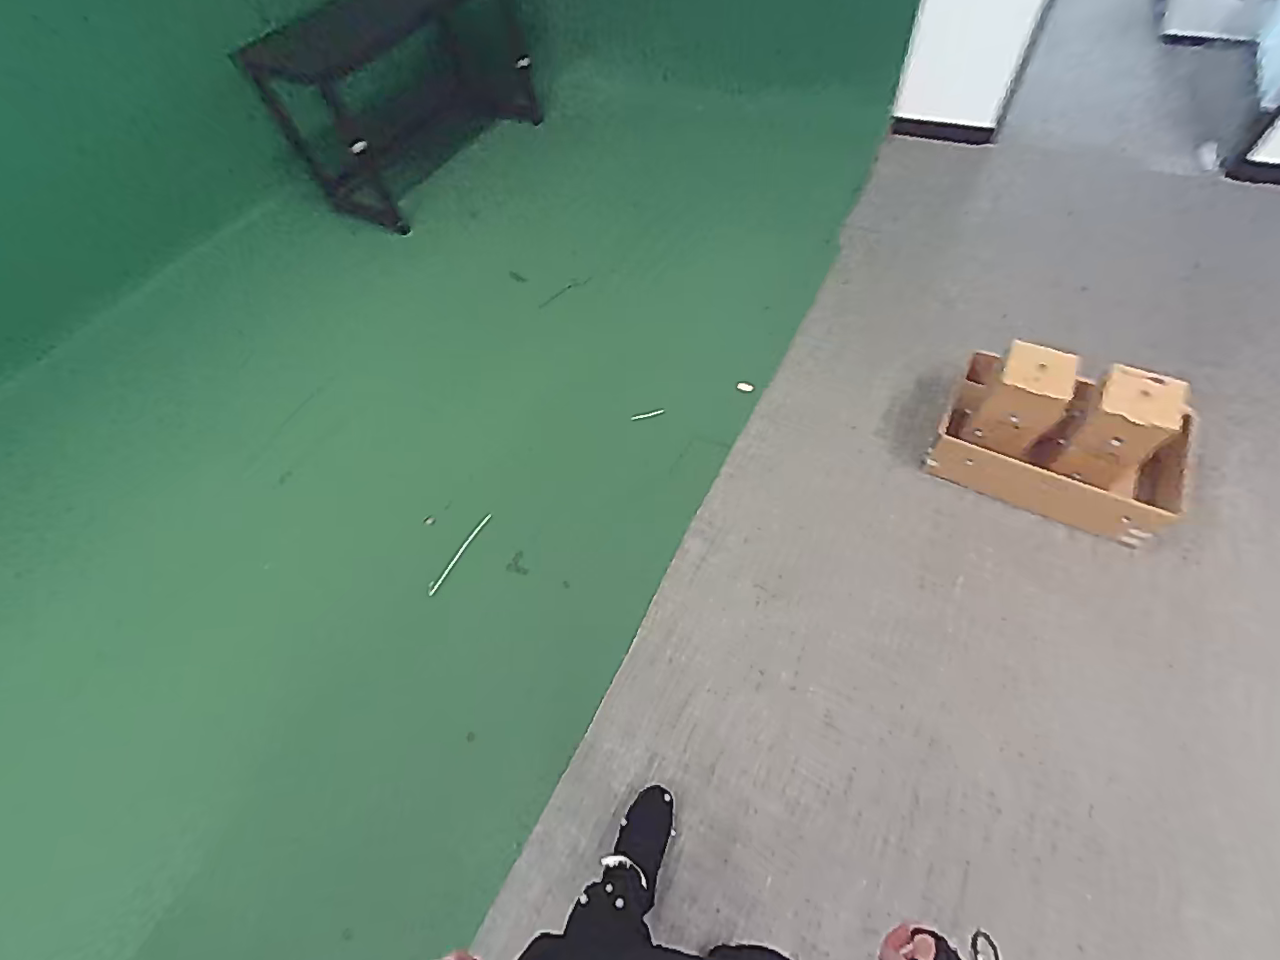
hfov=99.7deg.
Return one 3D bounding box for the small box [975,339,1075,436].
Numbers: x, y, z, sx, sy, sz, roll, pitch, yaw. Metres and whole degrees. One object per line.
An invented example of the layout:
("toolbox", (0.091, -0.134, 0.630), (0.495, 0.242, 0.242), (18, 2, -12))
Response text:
("small box", (1.079, -0.259, 1.526), (0.168, 0.176, 0.179), (23, 65, 19))
